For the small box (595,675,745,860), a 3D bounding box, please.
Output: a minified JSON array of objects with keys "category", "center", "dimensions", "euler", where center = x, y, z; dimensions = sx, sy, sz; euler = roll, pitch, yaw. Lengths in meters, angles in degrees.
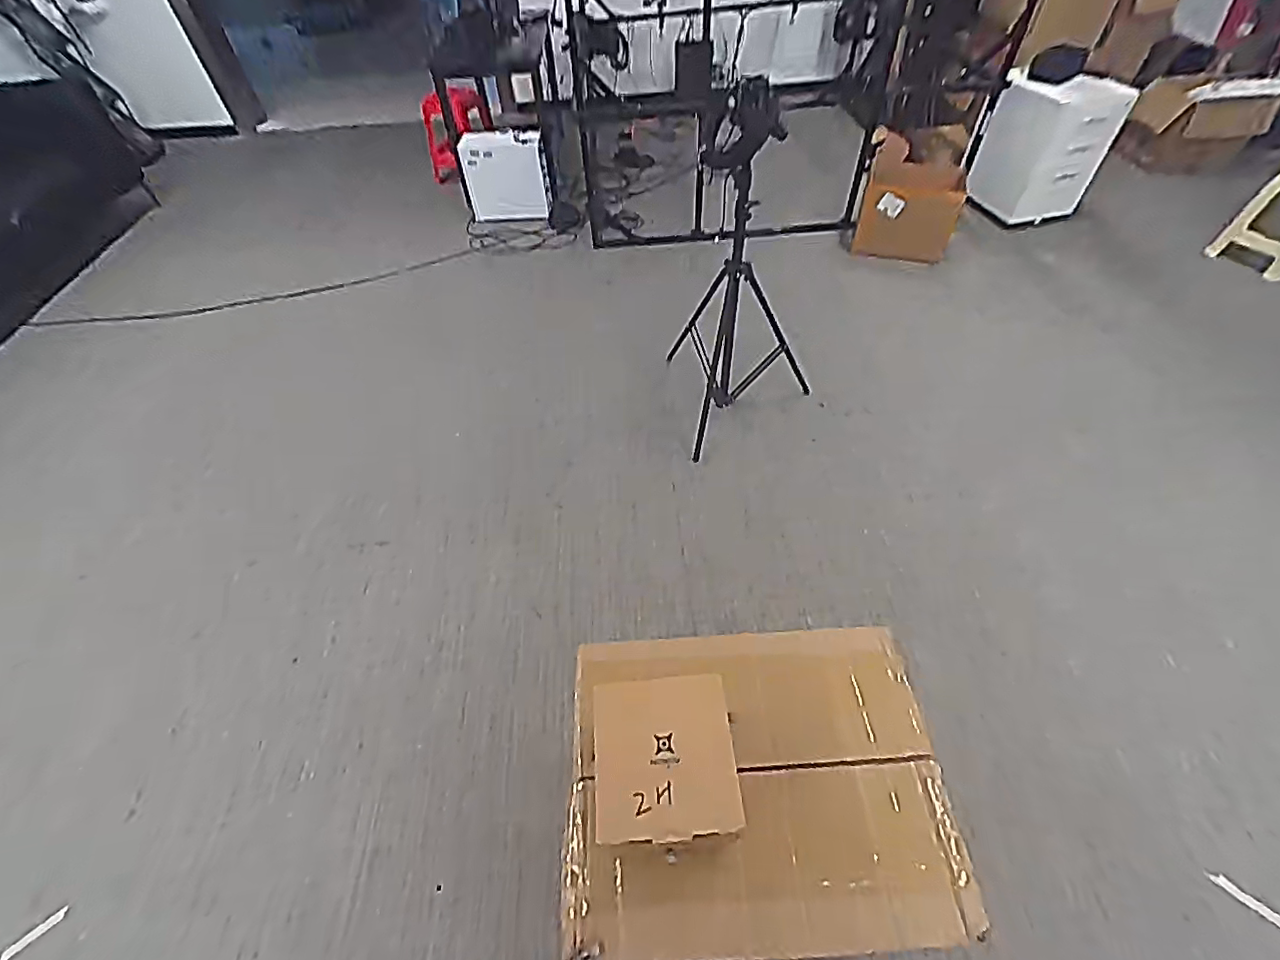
[{"category":"small box","center":[0.030,0.374,0.702],"dimensions":[0.168,0.176,0.179],"euler":[-5,51,-1]}]
